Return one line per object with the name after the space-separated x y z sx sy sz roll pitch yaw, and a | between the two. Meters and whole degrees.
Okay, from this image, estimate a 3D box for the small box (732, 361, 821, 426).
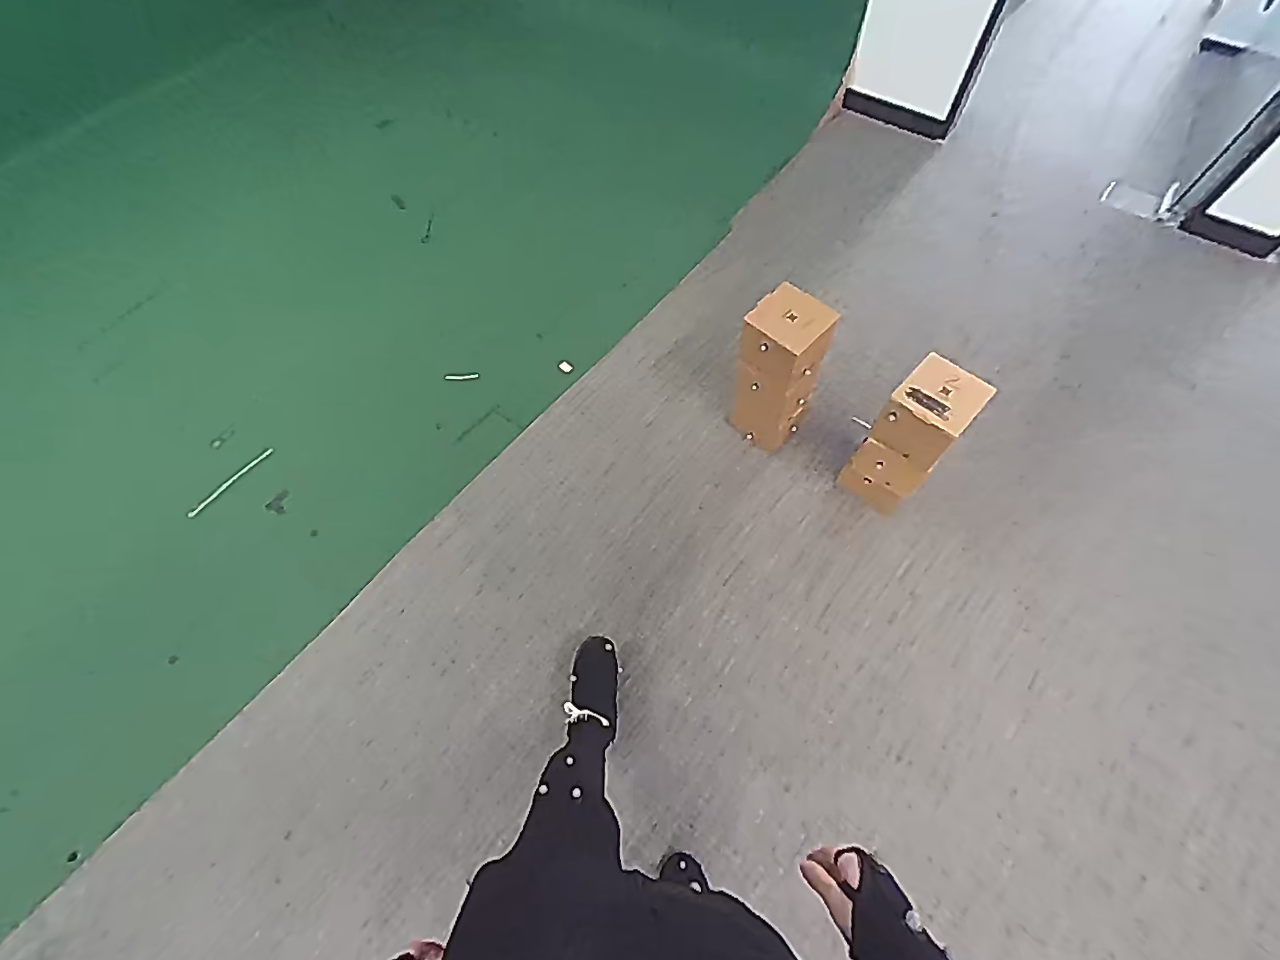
0.381 -0.286 1.545 0.179 0.176 0.168 40 73 20 | small box

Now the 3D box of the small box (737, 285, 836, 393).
0.369 -0.360 1.399 0.168 0.176 0.179 -42 69 -14 | small box

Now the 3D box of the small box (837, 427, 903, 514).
0.705 -0.029 1.575 0.179 0.176 0.168 37 73 19 | small box

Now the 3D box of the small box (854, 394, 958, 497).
0.688 -0.085 1.423 0.168 0.176 0.179 33 70 19 | small box

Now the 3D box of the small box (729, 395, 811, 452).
0.399 -0.210 1.690 0.179 0.176 0.168 39 73 19 | small box
